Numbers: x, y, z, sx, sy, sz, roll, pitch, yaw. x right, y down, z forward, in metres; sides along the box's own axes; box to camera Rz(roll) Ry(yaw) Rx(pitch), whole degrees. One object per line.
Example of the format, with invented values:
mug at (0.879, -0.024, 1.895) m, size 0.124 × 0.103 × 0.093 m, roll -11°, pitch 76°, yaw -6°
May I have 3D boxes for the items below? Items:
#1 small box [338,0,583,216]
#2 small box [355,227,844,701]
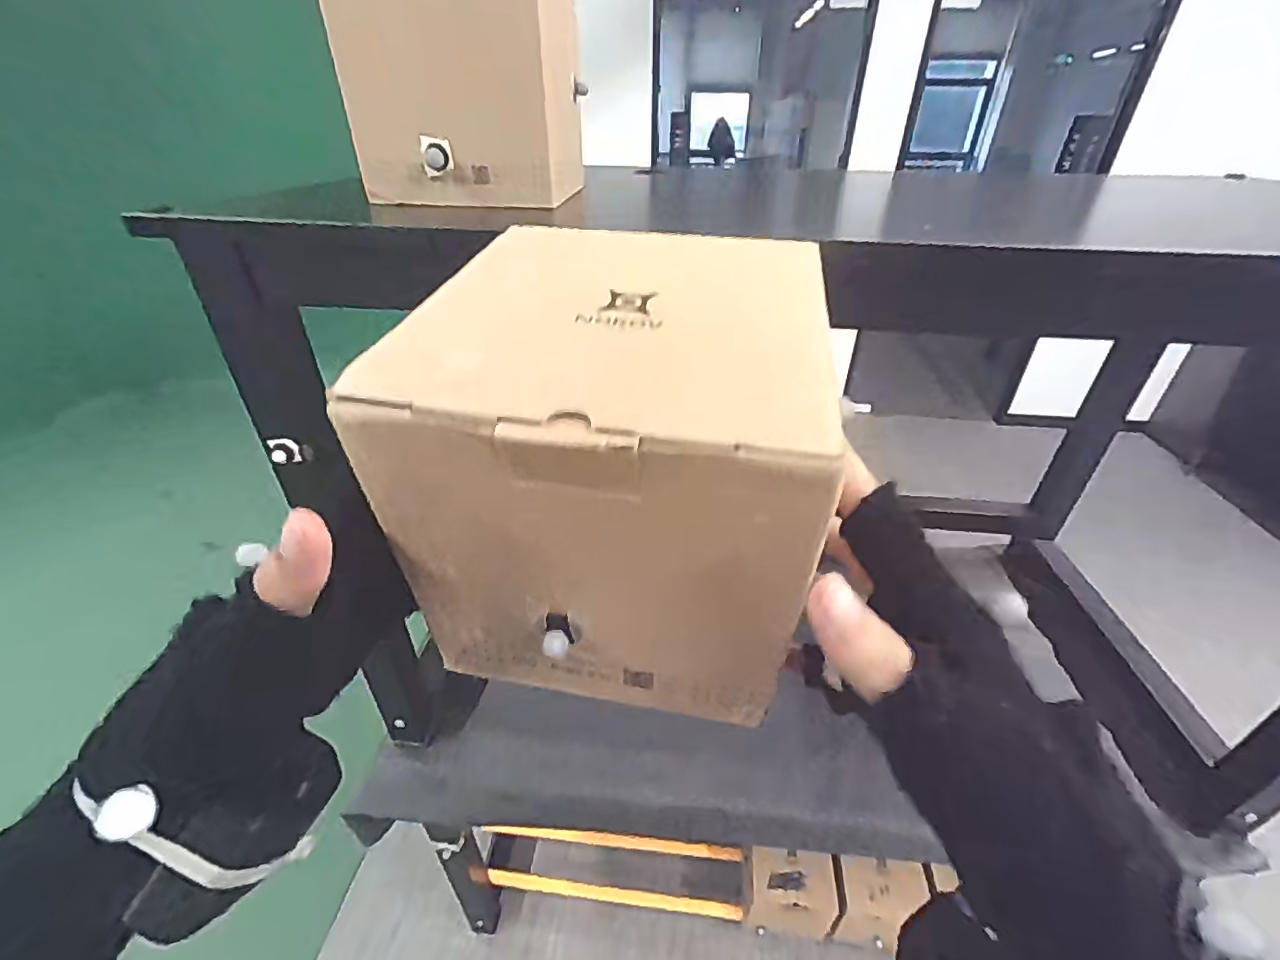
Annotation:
small box at (-0.147, -0.351, 0.503) m, size 0.168 × 0.176 × 0.179 m, roll 1°, pitch 33°, yaw 2°
small box at (-0.004, -0.016, 0.285) m, size 0.168 × 0.176 × 0.179 m, roll 6°, pitch 42°, yaw 8°
